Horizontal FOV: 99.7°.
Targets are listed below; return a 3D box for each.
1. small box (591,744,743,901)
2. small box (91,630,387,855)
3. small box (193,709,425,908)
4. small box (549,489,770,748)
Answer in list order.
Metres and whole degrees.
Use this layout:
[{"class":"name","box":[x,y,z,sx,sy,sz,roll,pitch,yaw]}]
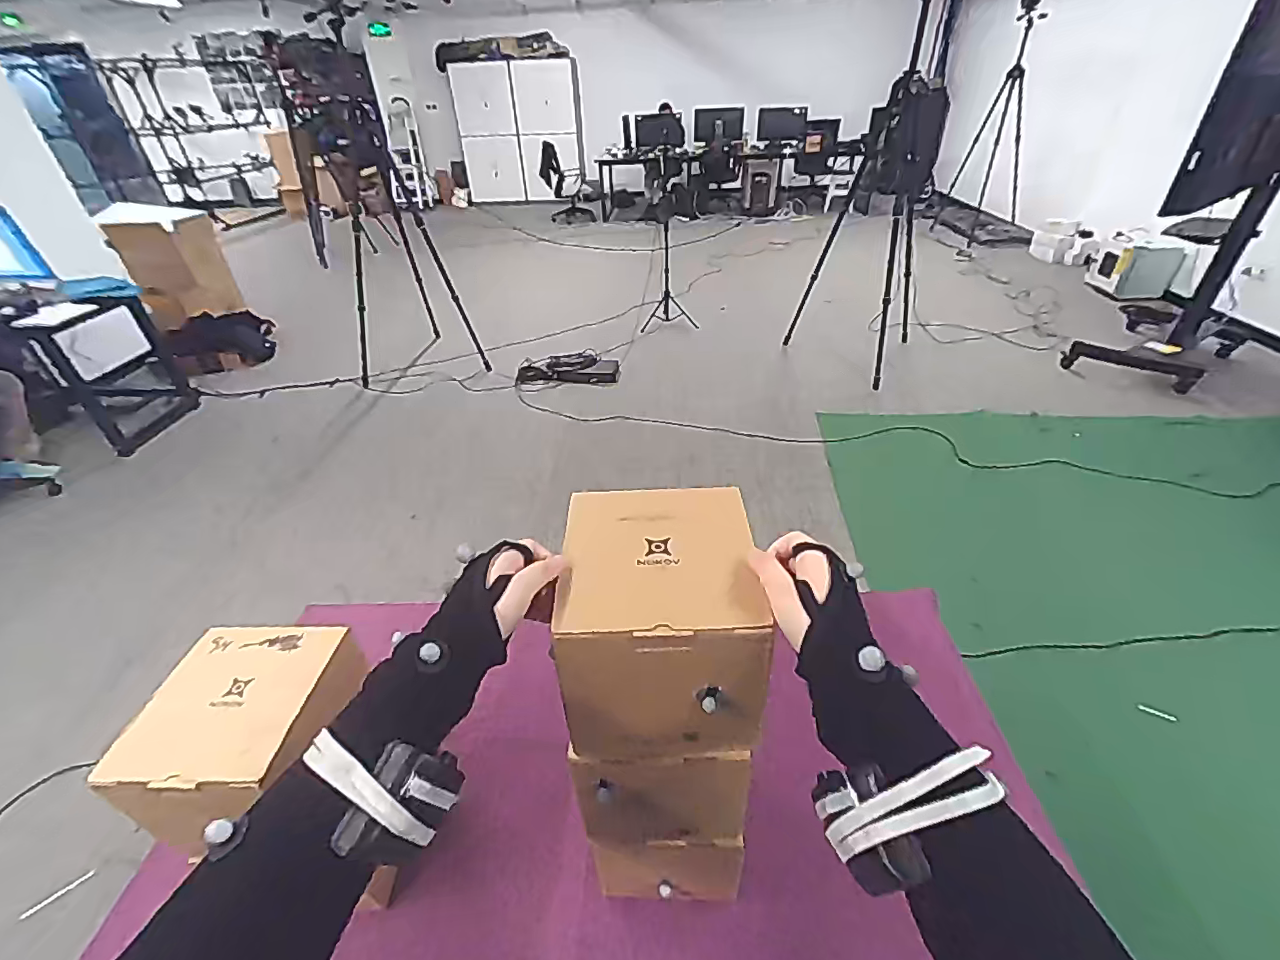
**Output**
[{"class":"small box","box":[0.036,0.398,0.689,0.168,0.176,0.179,-1,36,4]},{"class":"small box","box":[-0.408,0.288,0.597,0.168,0.176,0.179,-1,37,2]},{"class":"small box","box":[-0.397,0.421,0.693,0.168,0.176,0.179,-2,35,1]},{"class":"small box","box":[0.019,0.128,0.503,0.168,0.176,0.179,-2,35,1]}]
